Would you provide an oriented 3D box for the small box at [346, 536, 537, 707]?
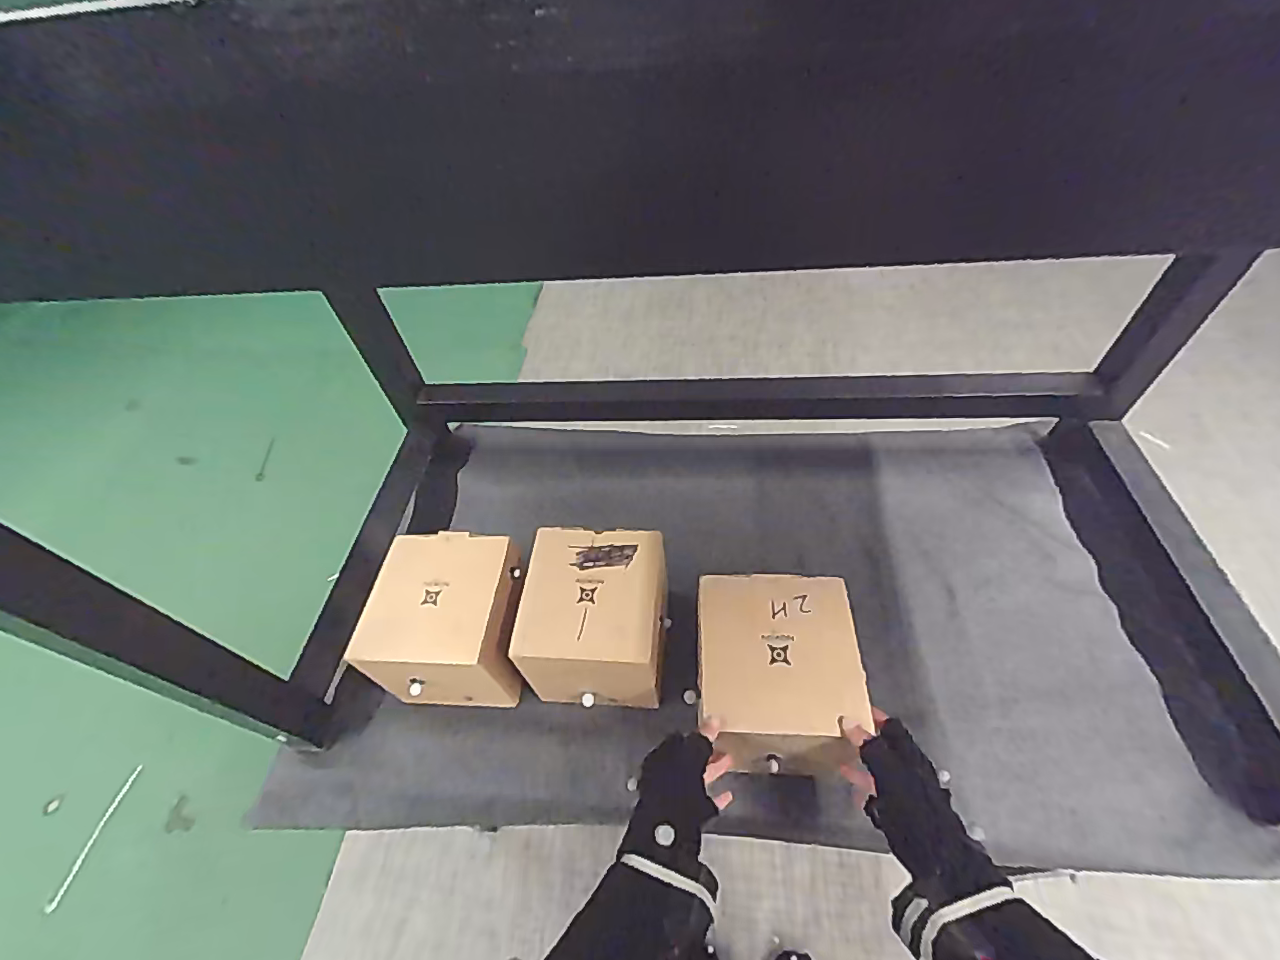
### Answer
[{"bbox_3d":[-0.248,0.194,0.731,0.168,0.176,0.179,0,50,7],"label":"small box"}]

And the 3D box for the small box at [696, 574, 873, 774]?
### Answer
[{"bbox_3d":[0.151,0.228,0.629,0.168,0.176,0.179,1,50,5],"label":"small box"}]
